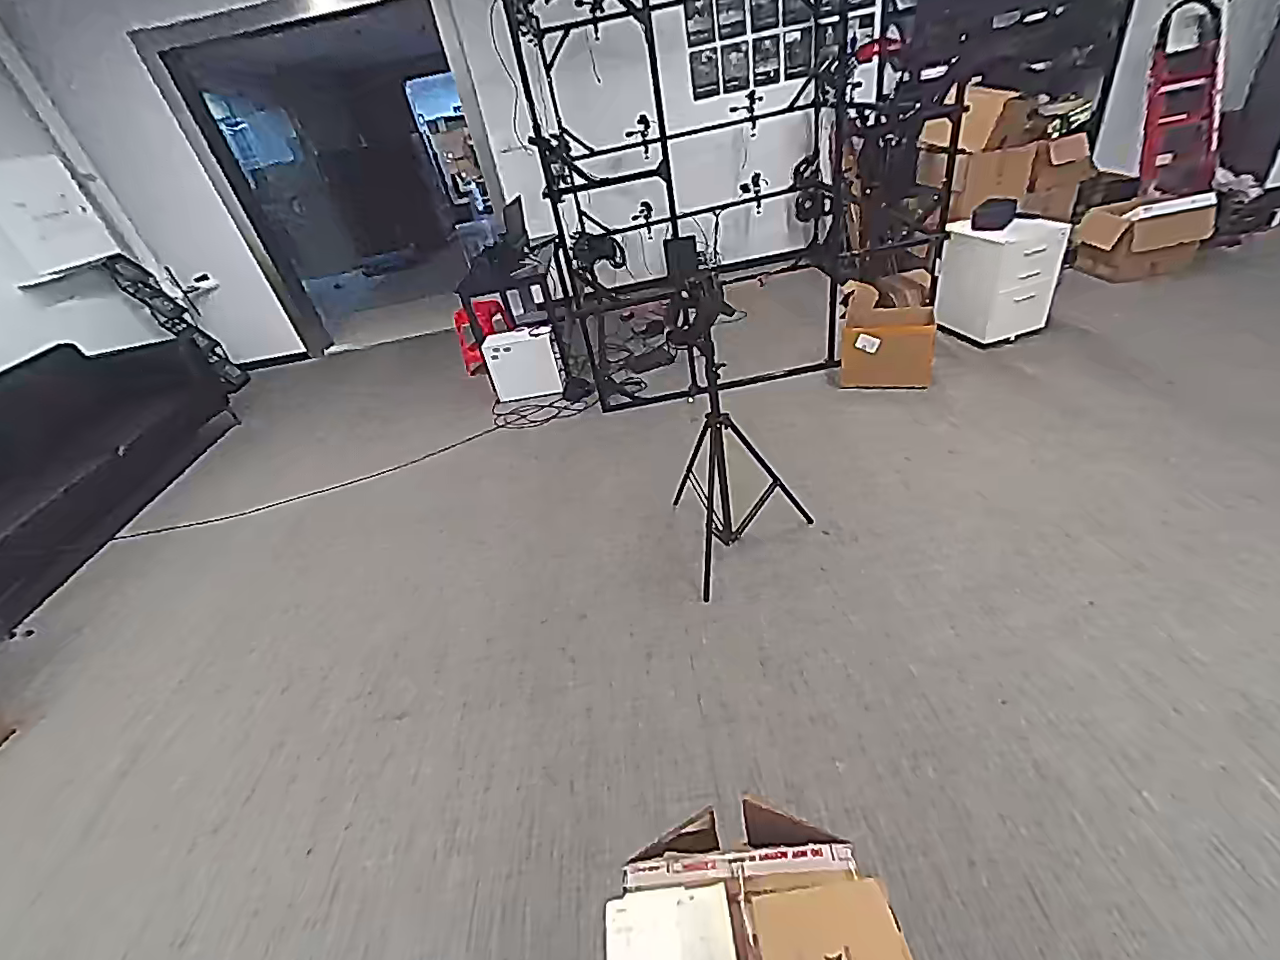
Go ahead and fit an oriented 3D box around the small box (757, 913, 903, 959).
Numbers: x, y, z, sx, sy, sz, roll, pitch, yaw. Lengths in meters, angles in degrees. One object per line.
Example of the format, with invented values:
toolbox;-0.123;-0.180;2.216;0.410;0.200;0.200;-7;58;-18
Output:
small box;0.254;0.688;0.688;0.179;0.176;0.168;-10;36;0
